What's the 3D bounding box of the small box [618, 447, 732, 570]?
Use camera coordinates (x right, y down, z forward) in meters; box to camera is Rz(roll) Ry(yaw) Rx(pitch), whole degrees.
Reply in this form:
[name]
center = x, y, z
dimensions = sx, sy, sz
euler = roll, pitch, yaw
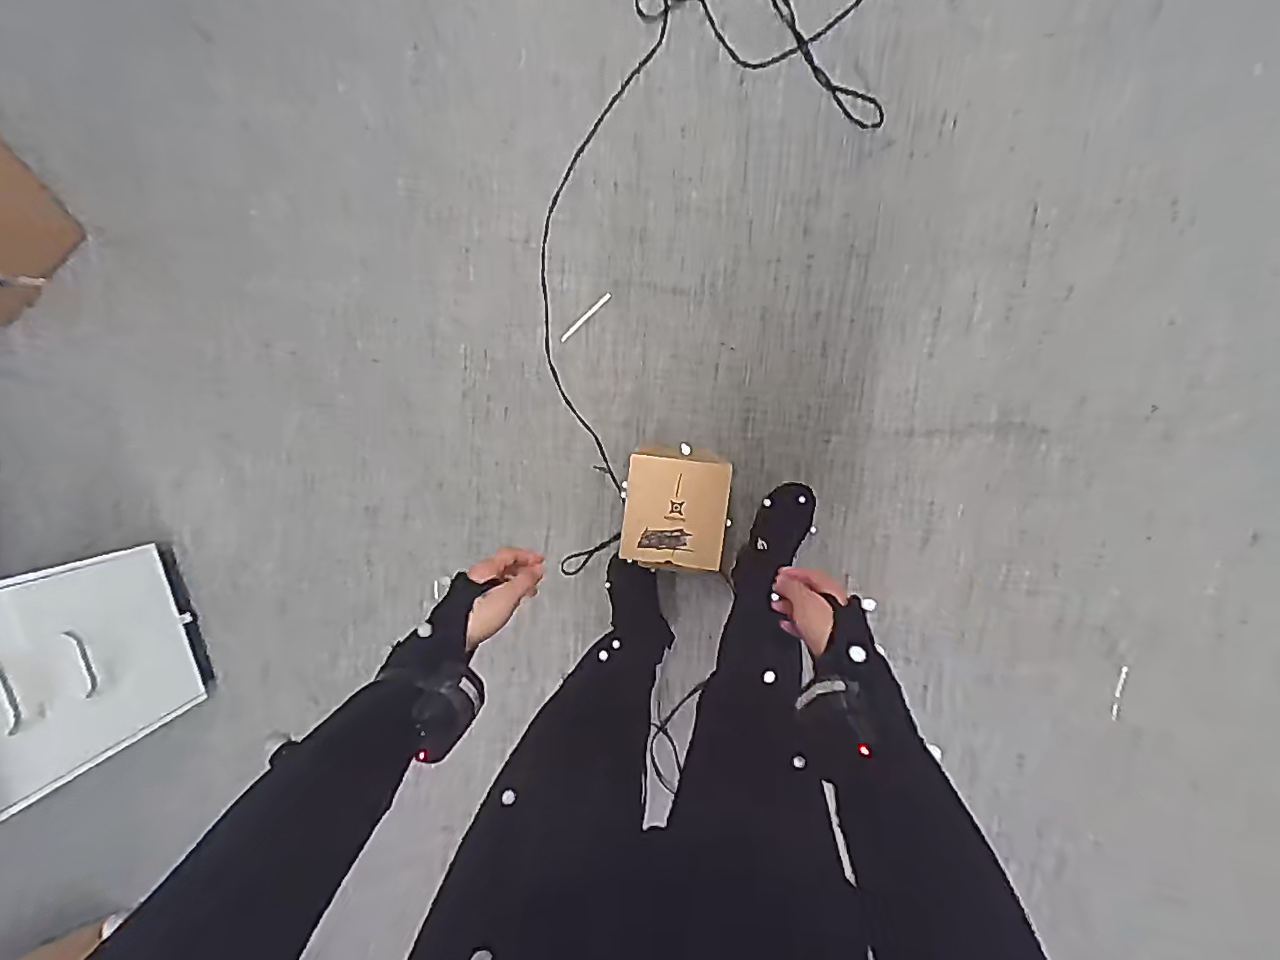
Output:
[small box]
center = 0.063, 0.042, 0.948
dimensions = 0.168, 0.176, 0.179
euler = 8, 96, 4
